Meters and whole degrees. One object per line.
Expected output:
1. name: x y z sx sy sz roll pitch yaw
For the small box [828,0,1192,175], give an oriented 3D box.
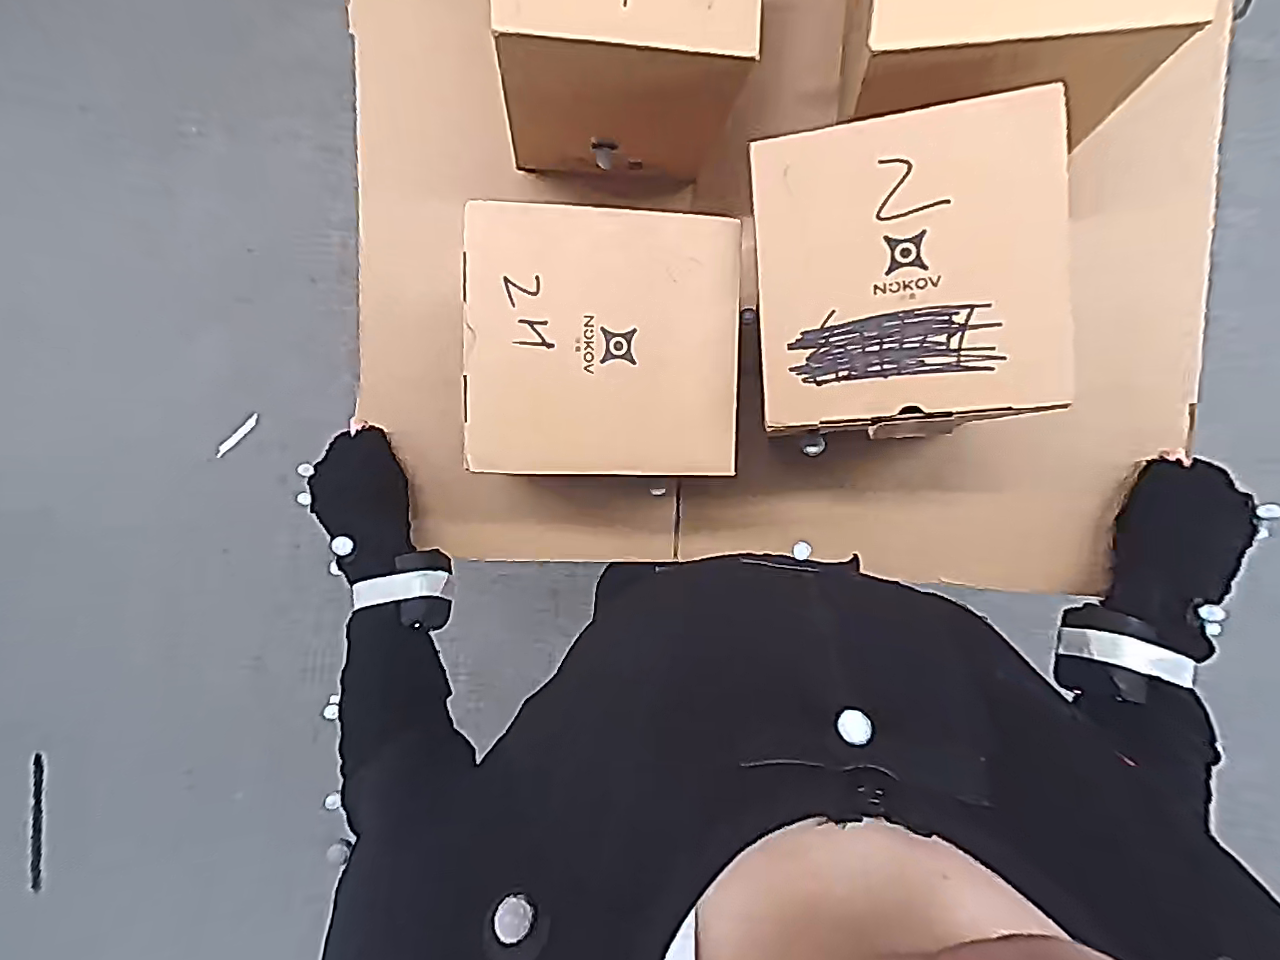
1. small box: 0.227 -0.330 0.367 0.168 0.176 0.179 4 93 12
